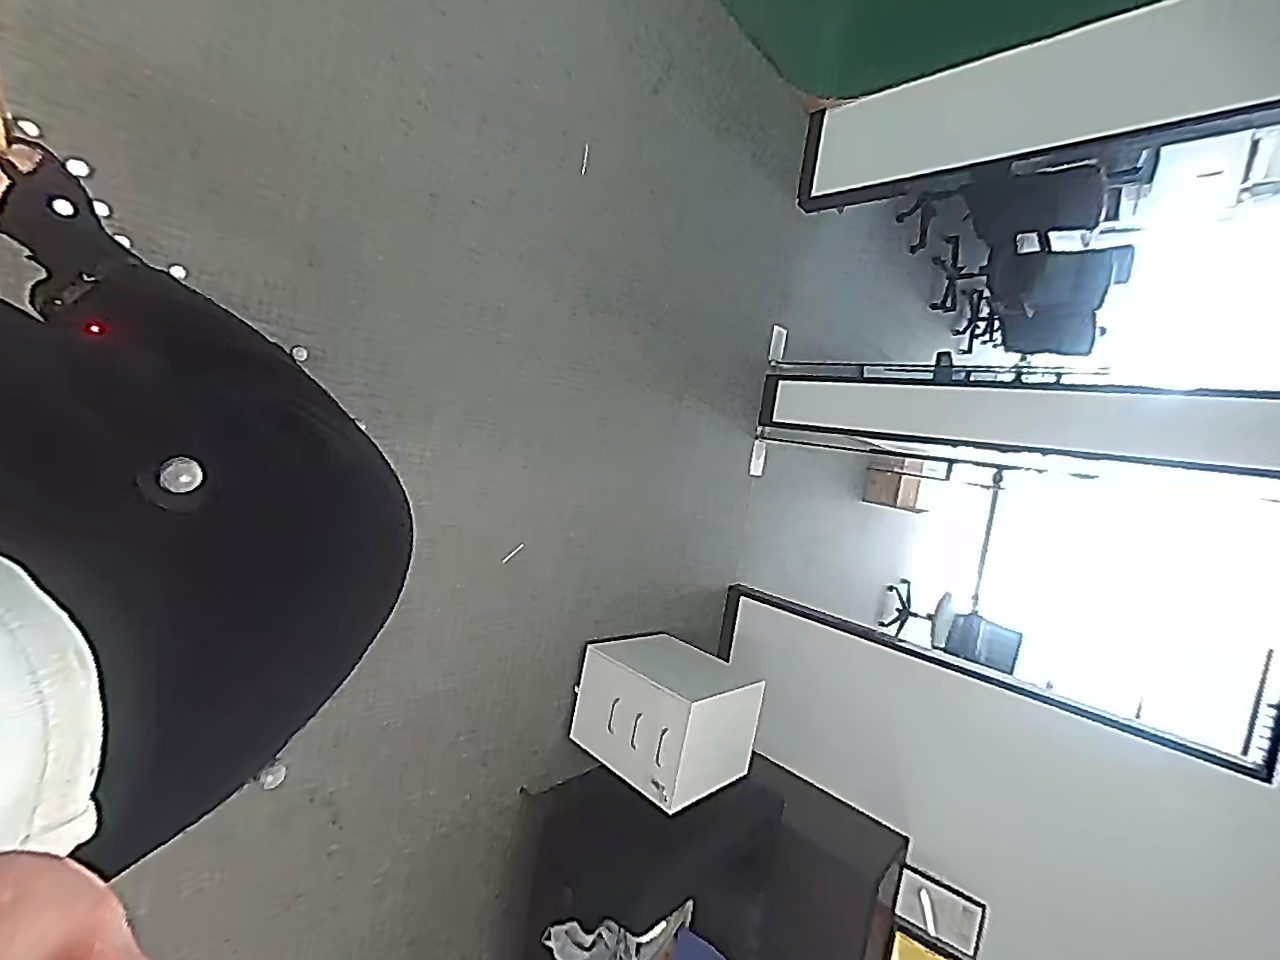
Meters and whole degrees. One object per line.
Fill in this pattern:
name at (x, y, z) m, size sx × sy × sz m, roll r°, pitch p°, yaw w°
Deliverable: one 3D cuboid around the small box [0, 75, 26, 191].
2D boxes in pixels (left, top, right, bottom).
small box at (-0.672, -0.361, 0.456) m, size 0.179 × 0.176 × 0.168 m, roll -14°, pitch 108°, yaw -44°
